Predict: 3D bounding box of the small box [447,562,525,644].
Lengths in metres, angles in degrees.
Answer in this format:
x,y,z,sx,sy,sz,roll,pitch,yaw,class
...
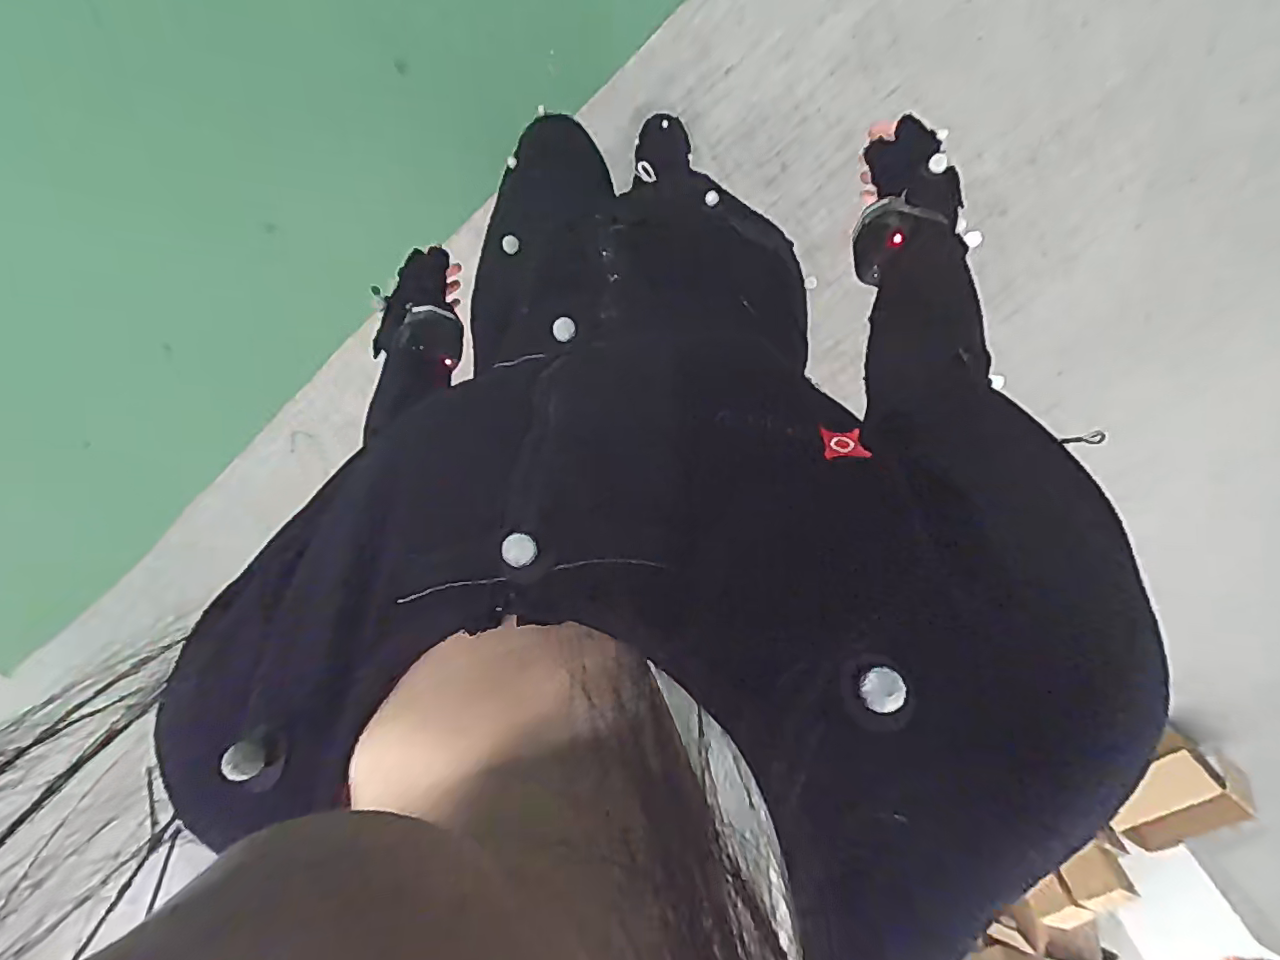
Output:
x,y,z,sx,sy,sz,roll,pitch,yaw,class
-0.515,0.415,1.839,0.179,0.176,0.168,-38,114,22,small box
